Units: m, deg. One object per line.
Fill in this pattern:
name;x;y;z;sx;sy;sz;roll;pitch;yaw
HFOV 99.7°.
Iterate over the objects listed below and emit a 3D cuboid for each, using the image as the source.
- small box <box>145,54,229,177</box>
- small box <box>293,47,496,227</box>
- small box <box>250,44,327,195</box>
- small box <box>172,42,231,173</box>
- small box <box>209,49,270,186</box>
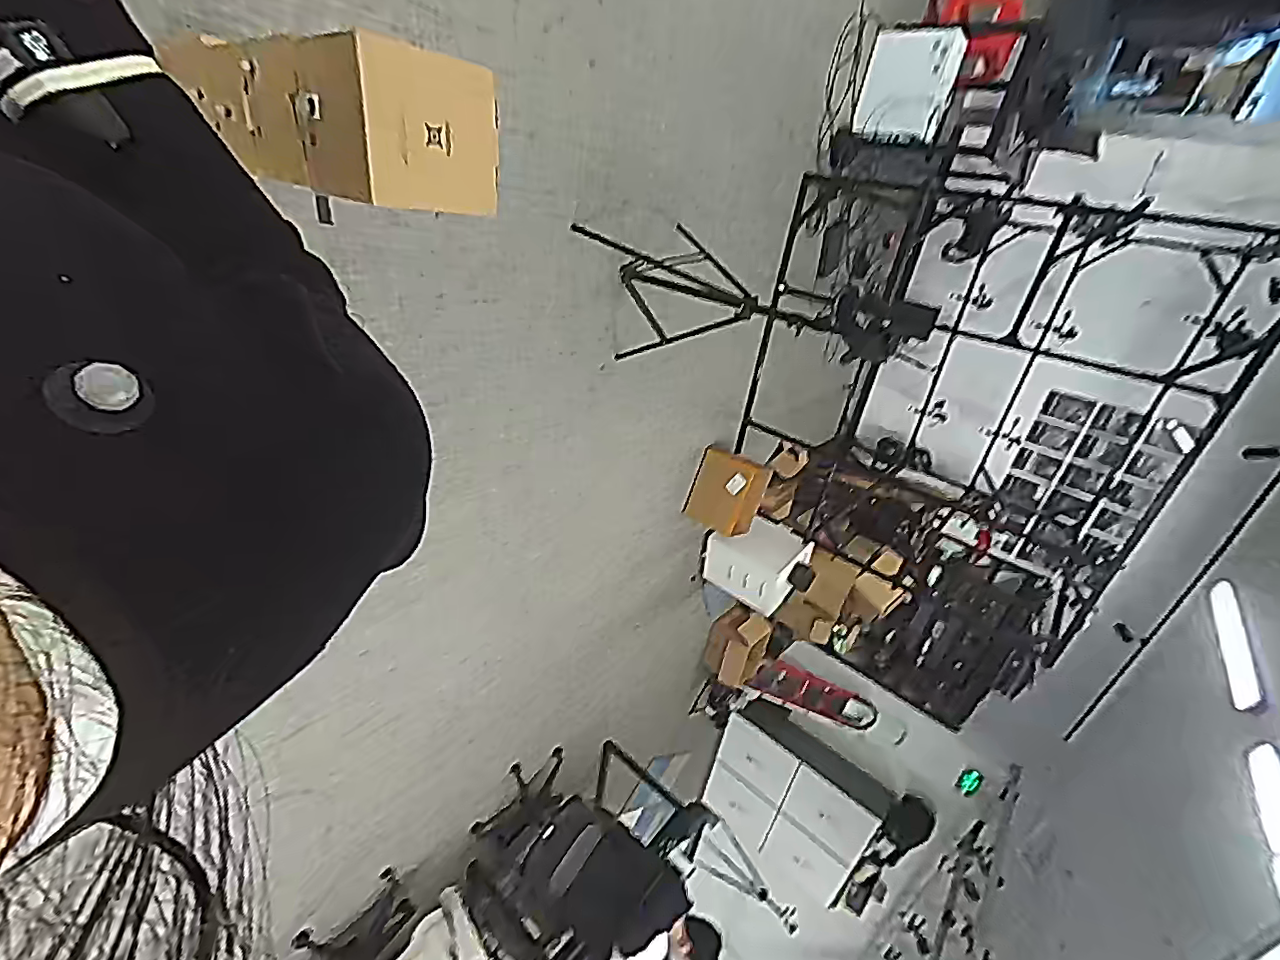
small box;-0.804;-0.686;1.036;0.168;0.176;0.179;-23;131;-46
small box;-0.307;-0.431;0.696;0.179;0.176;0.168;-23;130;-45
small box;-0.430;-0.496;0.779;0.179;0.176;0.168;-23;130;-47
small box;-0.681;-0.627;0.944;0.168;0.176;0.179;-19;128;-47
small box;-0.557;-0.556;0.865;0.179;0.176;0.168;-20;129;-47
